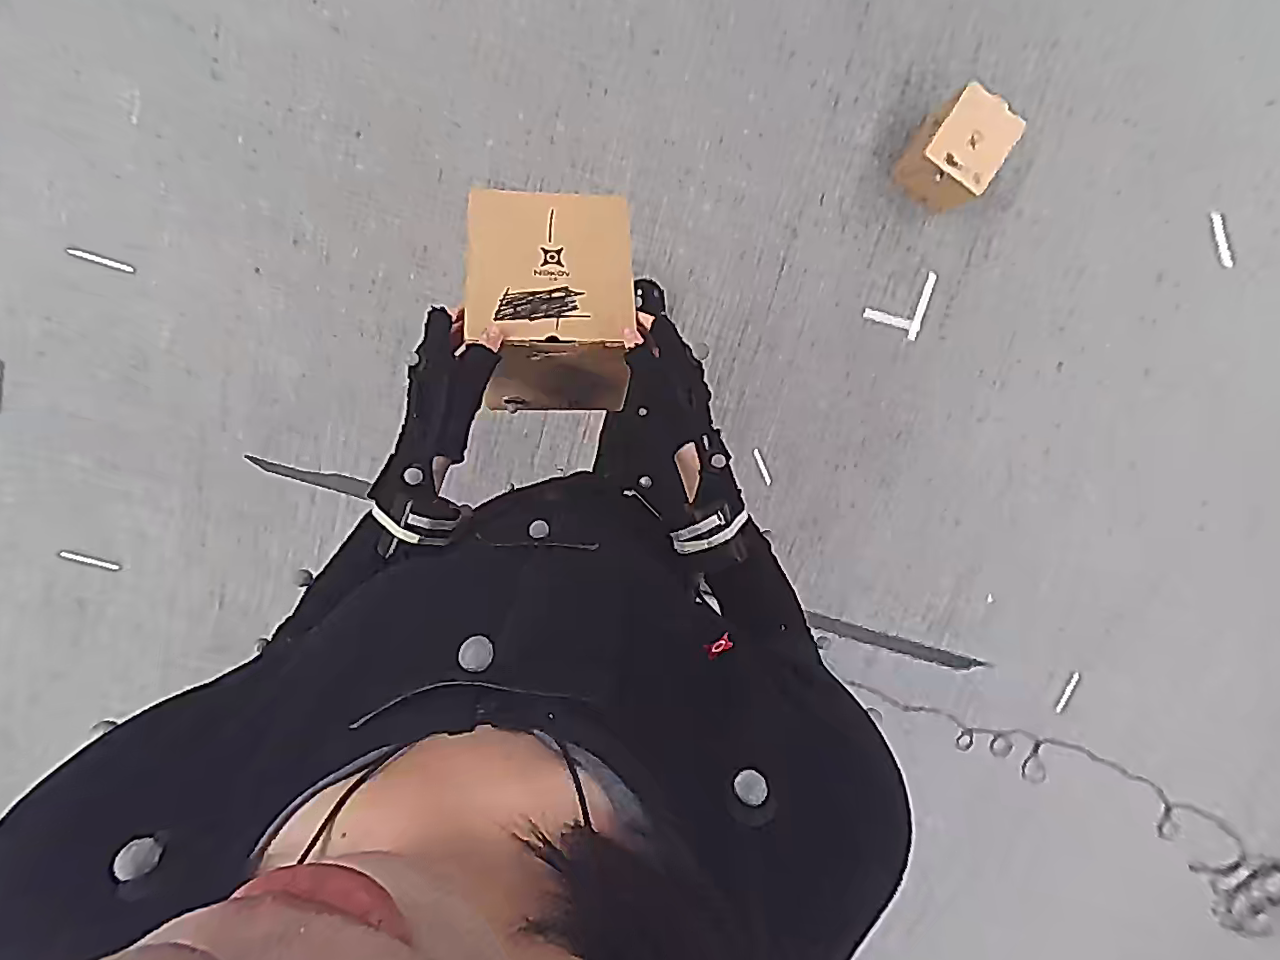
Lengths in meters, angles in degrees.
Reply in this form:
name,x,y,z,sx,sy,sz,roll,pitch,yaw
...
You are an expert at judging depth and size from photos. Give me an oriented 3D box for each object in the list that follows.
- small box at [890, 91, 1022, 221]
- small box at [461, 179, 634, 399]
name,x,y,z,sx,sy,sz,roll,pitch,yaw
small box,0.734,-0.754,1.280,0.168,0.176,0.179,31,99,-8
small box,-0.099,-0.200,0.608,0.168,0.176,0.179,-1,73,-8
